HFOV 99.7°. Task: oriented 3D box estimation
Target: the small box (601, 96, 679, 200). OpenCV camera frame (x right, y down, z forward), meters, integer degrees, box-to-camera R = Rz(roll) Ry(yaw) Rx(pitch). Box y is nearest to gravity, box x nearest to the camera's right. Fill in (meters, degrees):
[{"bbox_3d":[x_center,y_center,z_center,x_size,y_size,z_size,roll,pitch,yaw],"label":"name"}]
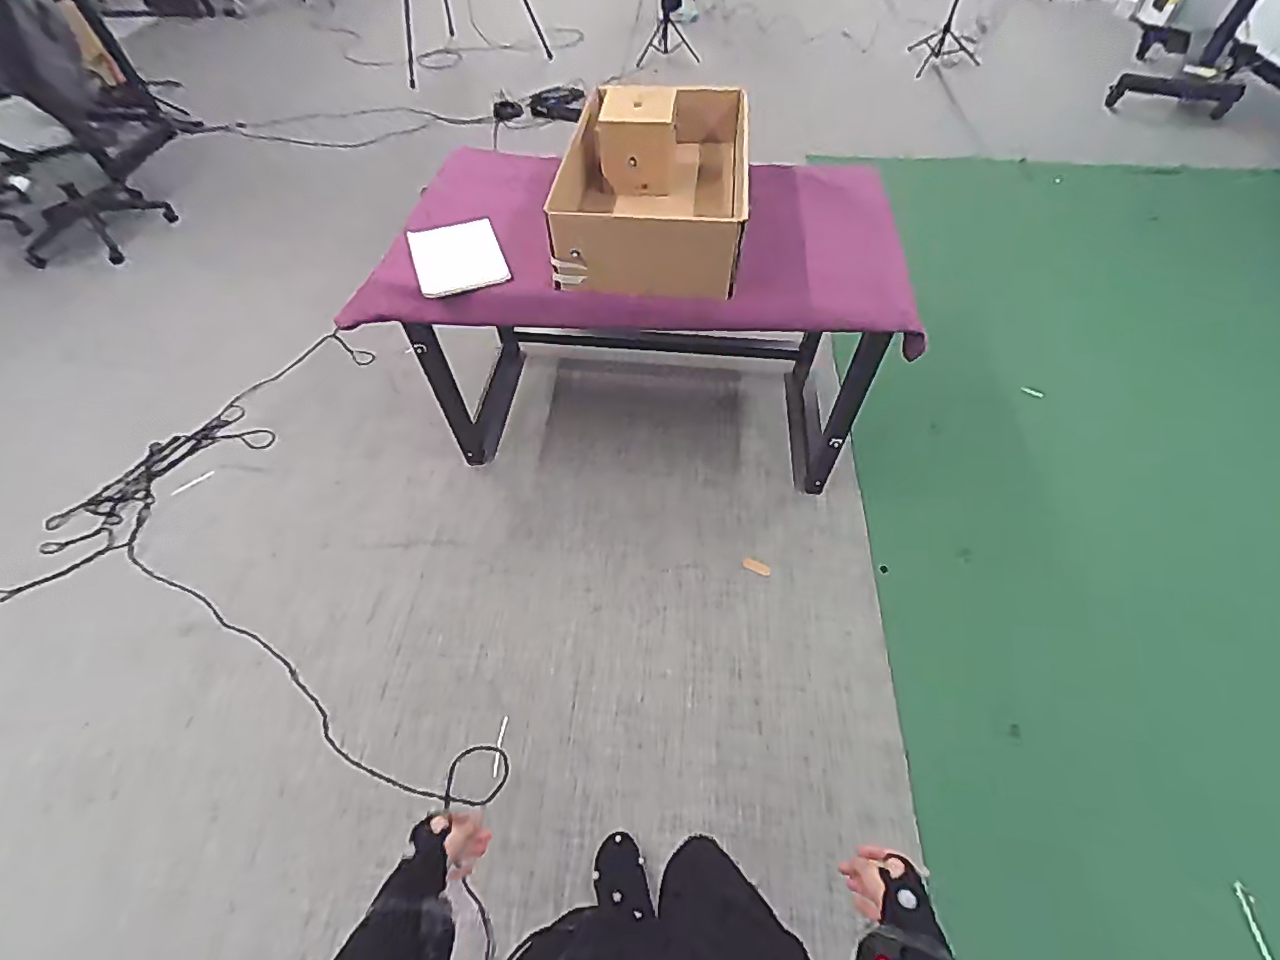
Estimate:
[{"bbox_3d":[0.005,-0.810,1.324,0.168,0.176,0.179,5,56,5],"label":"small box"}]
